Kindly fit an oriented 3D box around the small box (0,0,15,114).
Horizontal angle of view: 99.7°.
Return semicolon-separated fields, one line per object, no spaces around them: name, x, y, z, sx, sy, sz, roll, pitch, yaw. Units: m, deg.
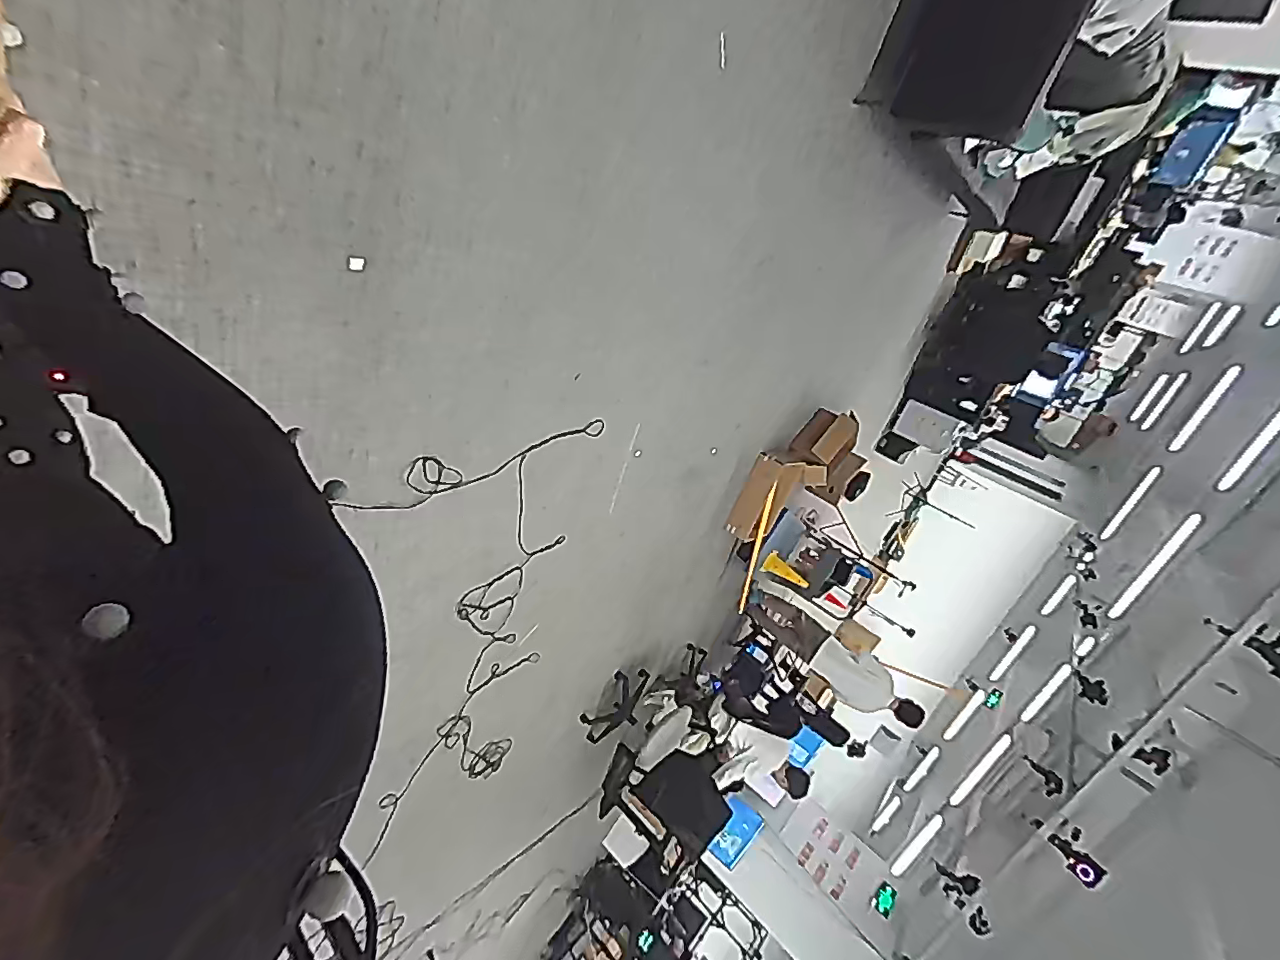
small box;-0.473;-0.303;0.284;0.179;0.176;0.168;-5;104;-54
